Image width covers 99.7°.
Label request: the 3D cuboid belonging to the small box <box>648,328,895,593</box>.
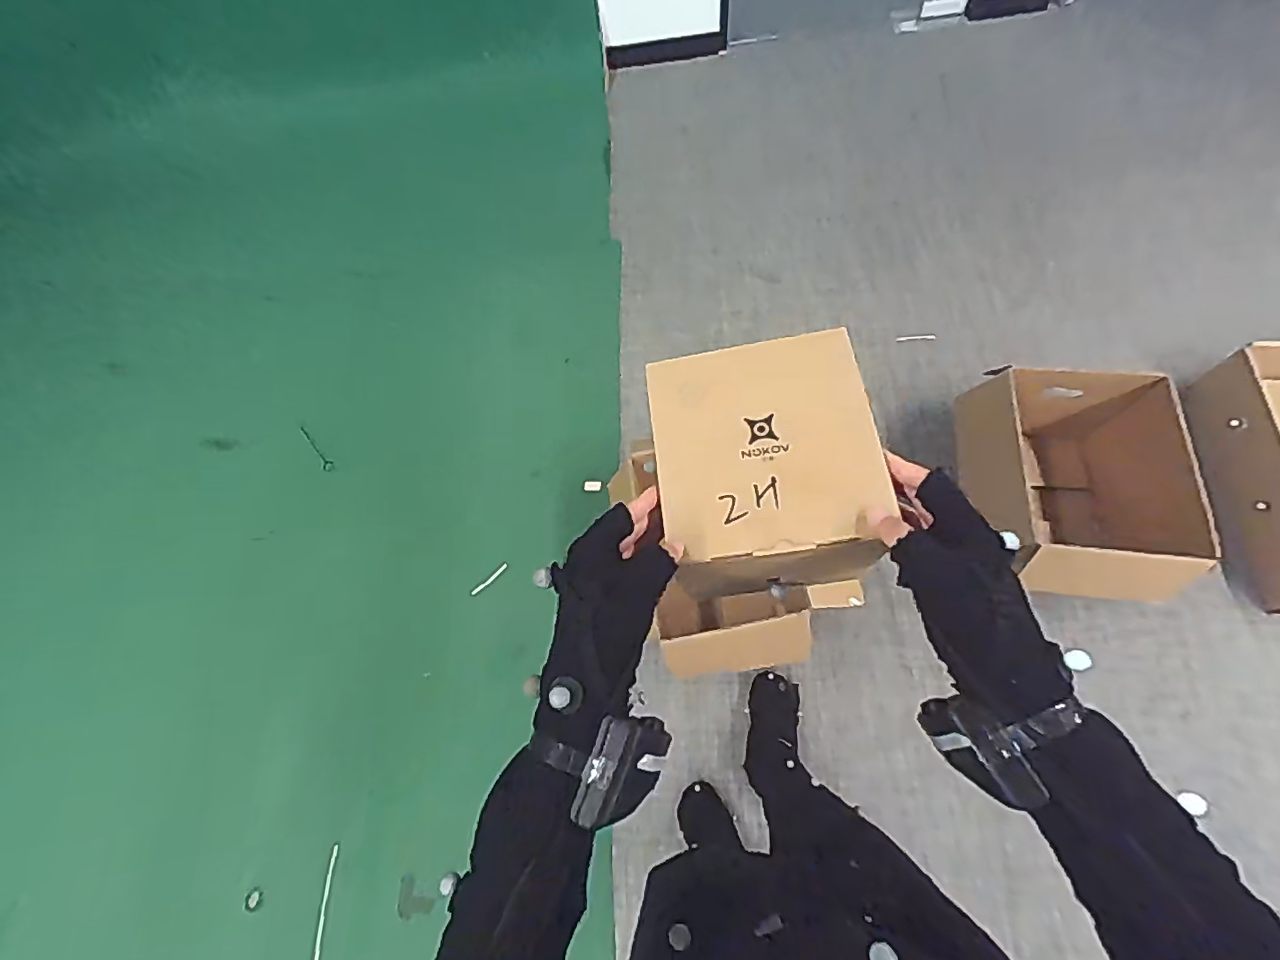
[{"bbox_3d":[0.104,-0.006,0.490,0.168,0.176,0.179,-8,68,8],"label":"small box"}]
